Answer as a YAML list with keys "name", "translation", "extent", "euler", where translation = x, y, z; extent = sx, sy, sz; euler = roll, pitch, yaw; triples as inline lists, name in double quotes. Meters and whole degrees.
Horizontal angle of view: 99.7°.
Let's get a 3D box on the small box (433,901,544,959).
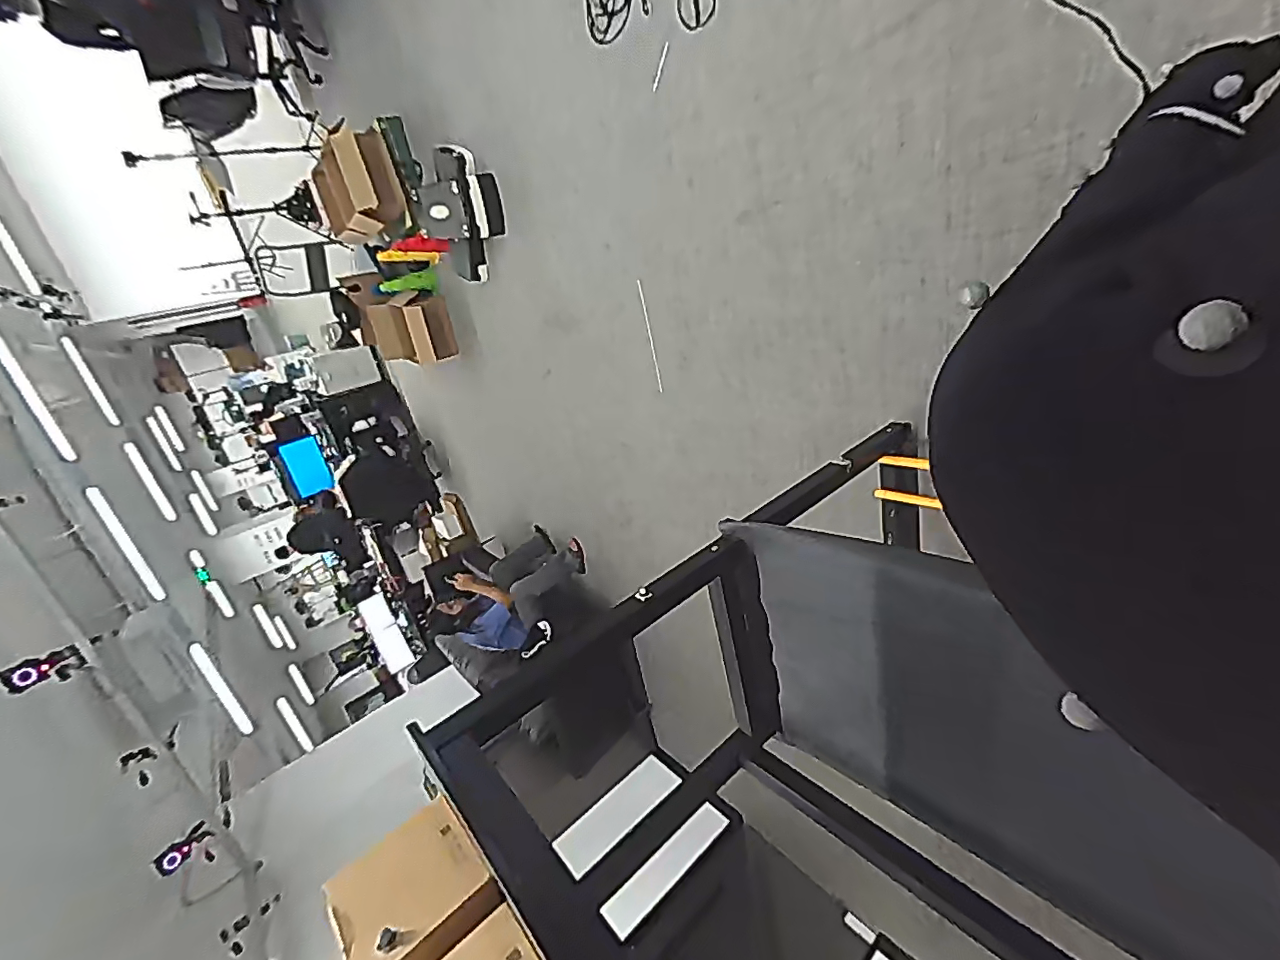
- name: "small box"
  translation: [-0.152, 0.604, 0.556]
  extent: [0.168, 0.176, 0.179]
  euler: [13, 123, 50]
